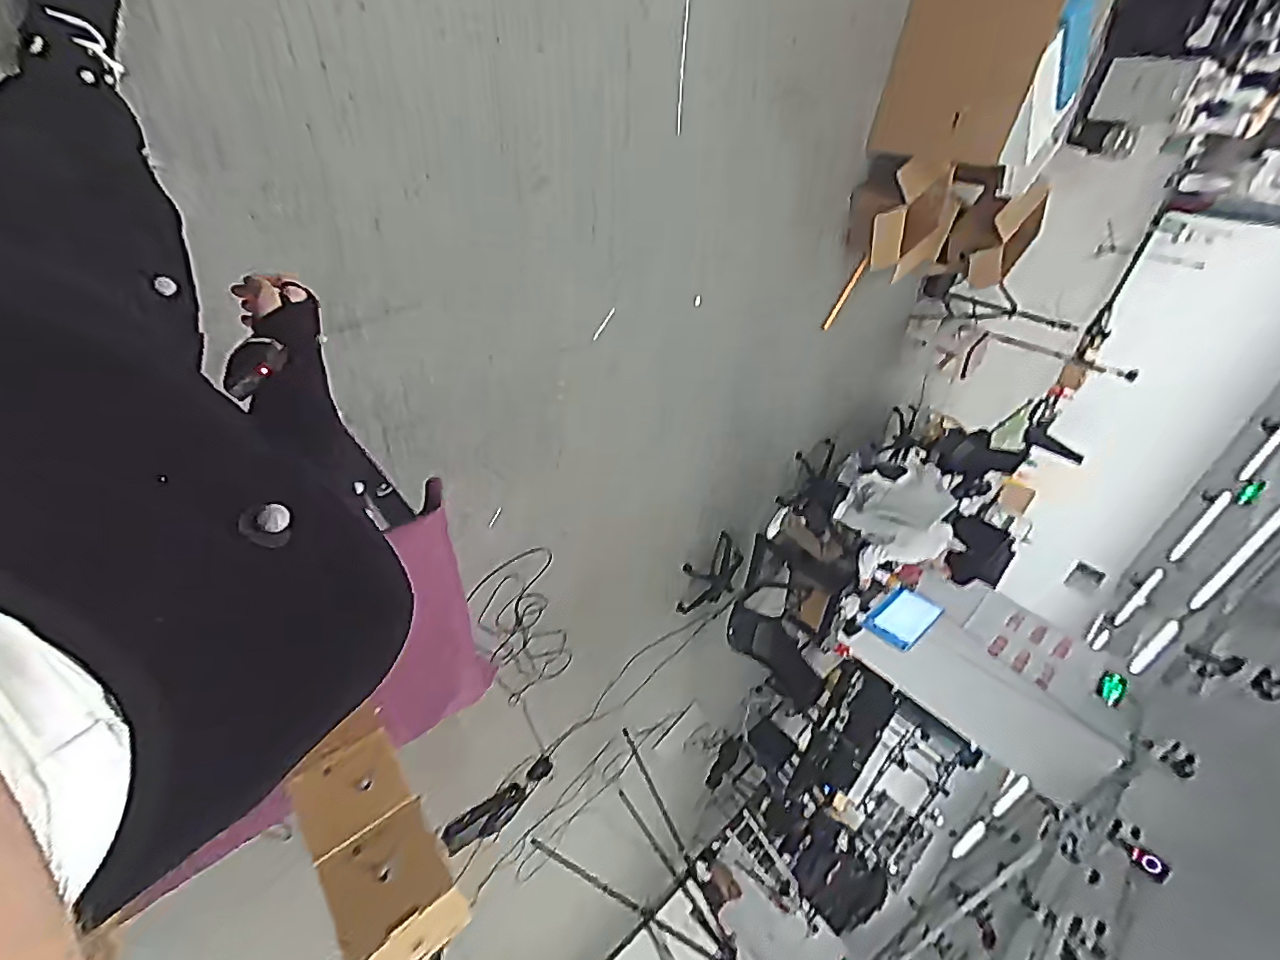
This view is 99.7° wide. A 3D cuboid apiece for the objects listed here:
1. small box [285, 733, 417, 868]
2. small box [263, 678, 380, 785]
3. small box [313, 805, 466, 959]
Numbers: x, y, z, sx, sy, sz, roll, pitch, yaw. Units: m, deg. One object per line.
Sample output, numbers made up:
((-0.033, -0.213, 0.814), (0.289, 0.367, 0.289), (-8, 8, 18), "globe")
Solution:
((-0.522, 0.605, 0.997), (0.168, 0.176, 0.179), (-25, 136, -33), "small box")
((-0.630, 0.532, 1.093), (0.168, 0.176, 0.179), (-25, 135, -33), "small box")
((-0.416, 0.687, 0.903), (0.168, 0.176, 0.179), (-25, 135, -33), "small box")
